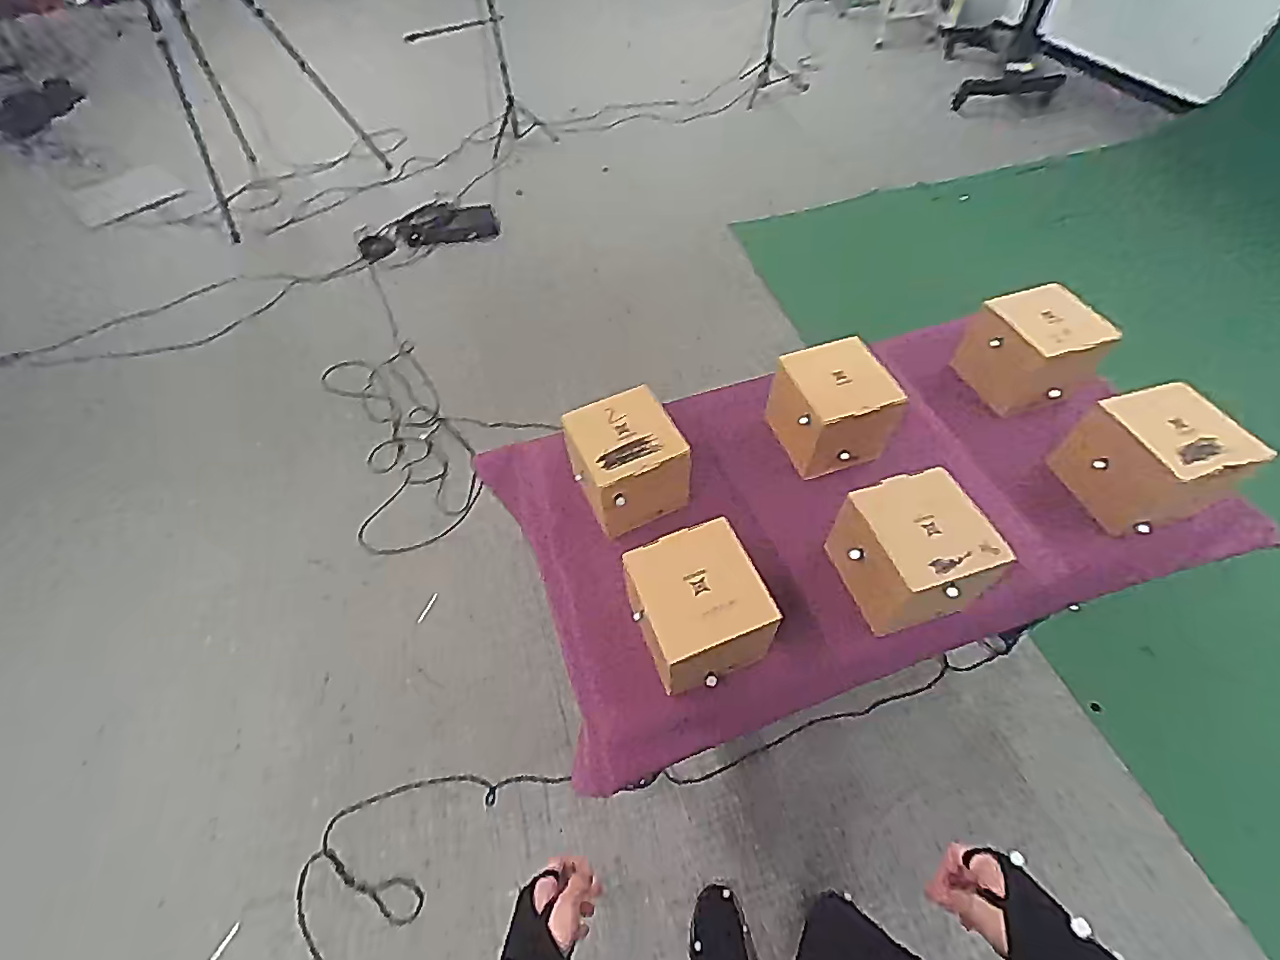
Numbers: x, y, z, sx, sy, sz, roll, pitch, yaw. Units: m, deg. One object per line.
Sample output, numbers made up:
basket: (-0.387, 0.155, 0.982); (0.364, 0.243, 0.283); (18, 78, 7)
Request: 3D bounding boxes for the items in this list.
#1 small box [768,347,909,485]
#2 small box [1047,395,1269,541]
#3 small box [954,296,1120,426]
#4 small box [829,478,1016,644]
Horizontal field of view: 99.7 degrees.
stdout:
small box: (0.363, -0.119, 1.029); (0.168, 0.176, 0.179); (-16, 56, -9)
small box: (0.865, -0.013, 0.926); (0.168, 0.176, 0.179); (-13, 53, -6)
small box: (0.782, -0.238, 1.092); (0.168, 0.176, 0.179); (-15, 56, -7)
small box: (0.421, 0.128, 0.846); (0.168, 0.176, 0.179); (-15, 53, -8)
